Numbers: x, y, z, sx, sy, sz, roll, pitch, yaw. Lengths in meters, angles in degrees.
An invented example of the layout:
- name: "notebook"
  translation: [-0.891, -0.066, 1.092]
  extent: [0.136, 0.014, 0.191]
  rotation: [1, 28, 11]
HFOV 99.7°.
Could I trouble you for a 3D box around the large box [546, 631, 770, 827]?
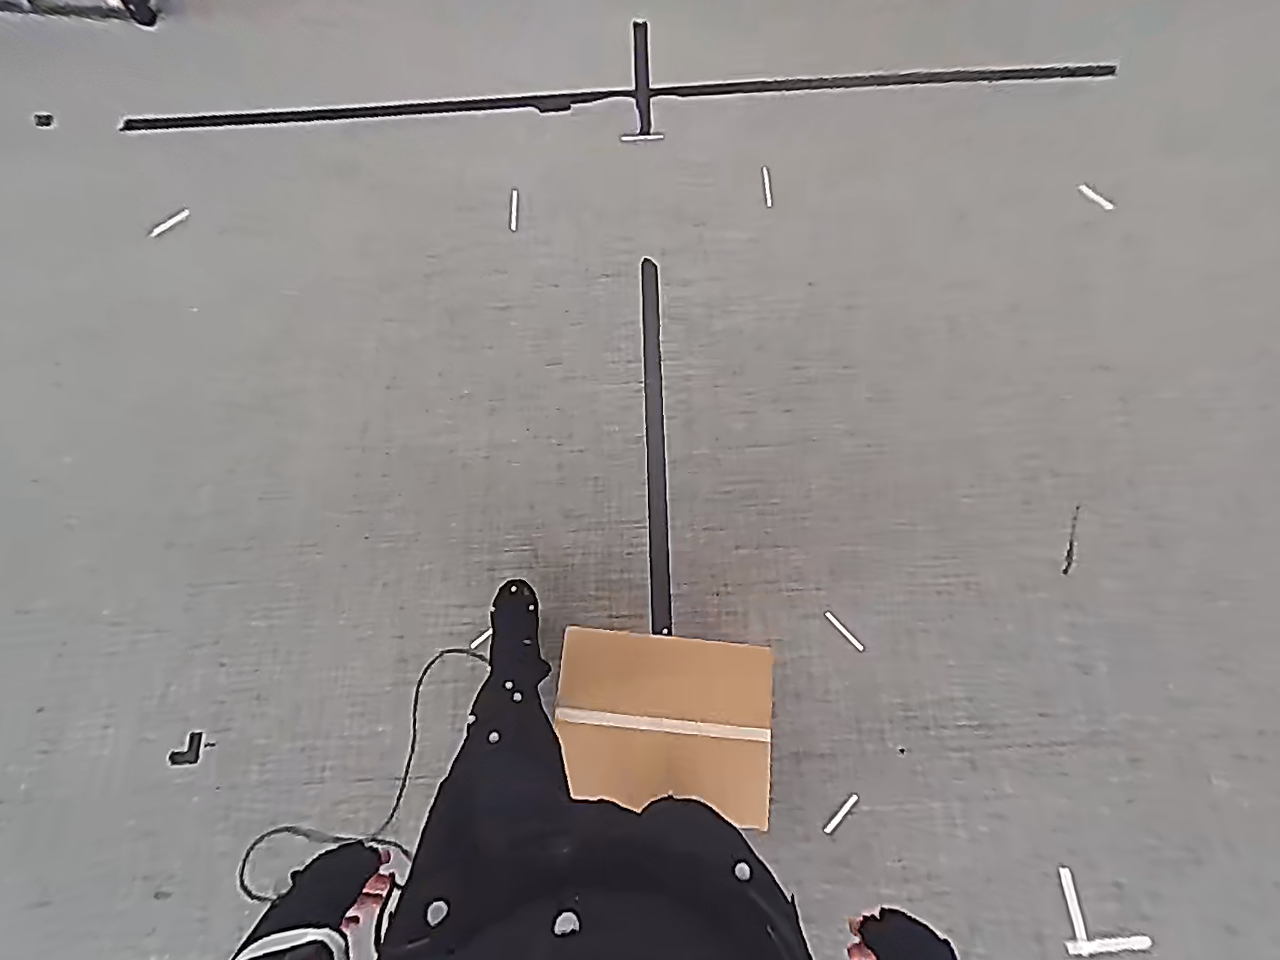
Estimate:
- name: "large box"
  translation: [0.042, 0.495, 1.148]
  extent: [0.408, 0.320, 0.320]
  rotation: [5, 73, 1]
